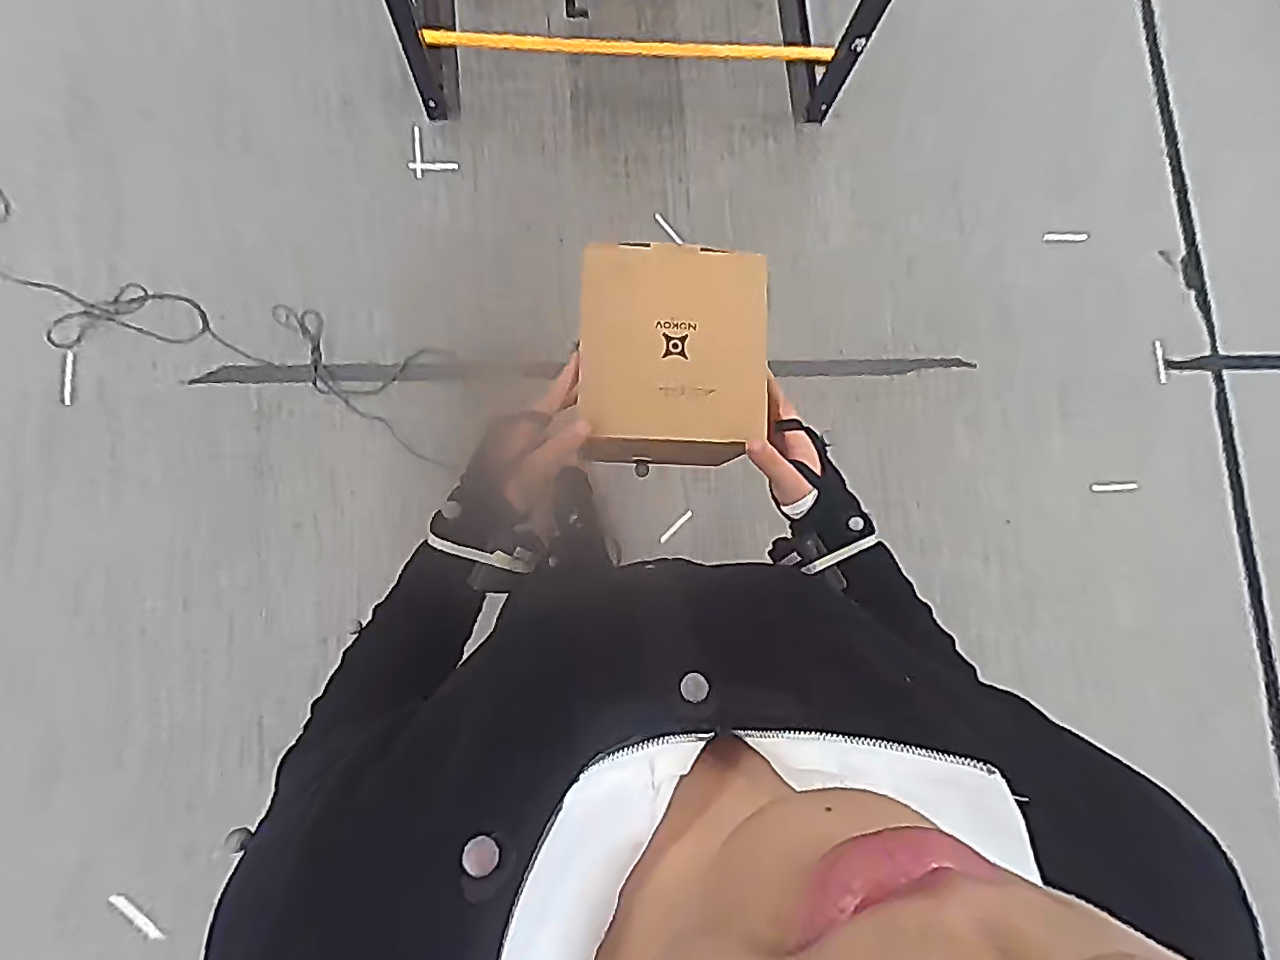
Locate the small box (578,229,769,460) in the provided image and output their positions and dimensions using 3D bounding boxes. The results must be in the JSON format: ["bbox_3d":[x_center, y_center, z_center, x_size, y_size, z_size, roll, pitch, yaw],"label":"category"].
[{"bbox_3d":[0.023,-0.121,0.547,0.168,0.176,0.179,2,85,-6],"label":"small box"}]
